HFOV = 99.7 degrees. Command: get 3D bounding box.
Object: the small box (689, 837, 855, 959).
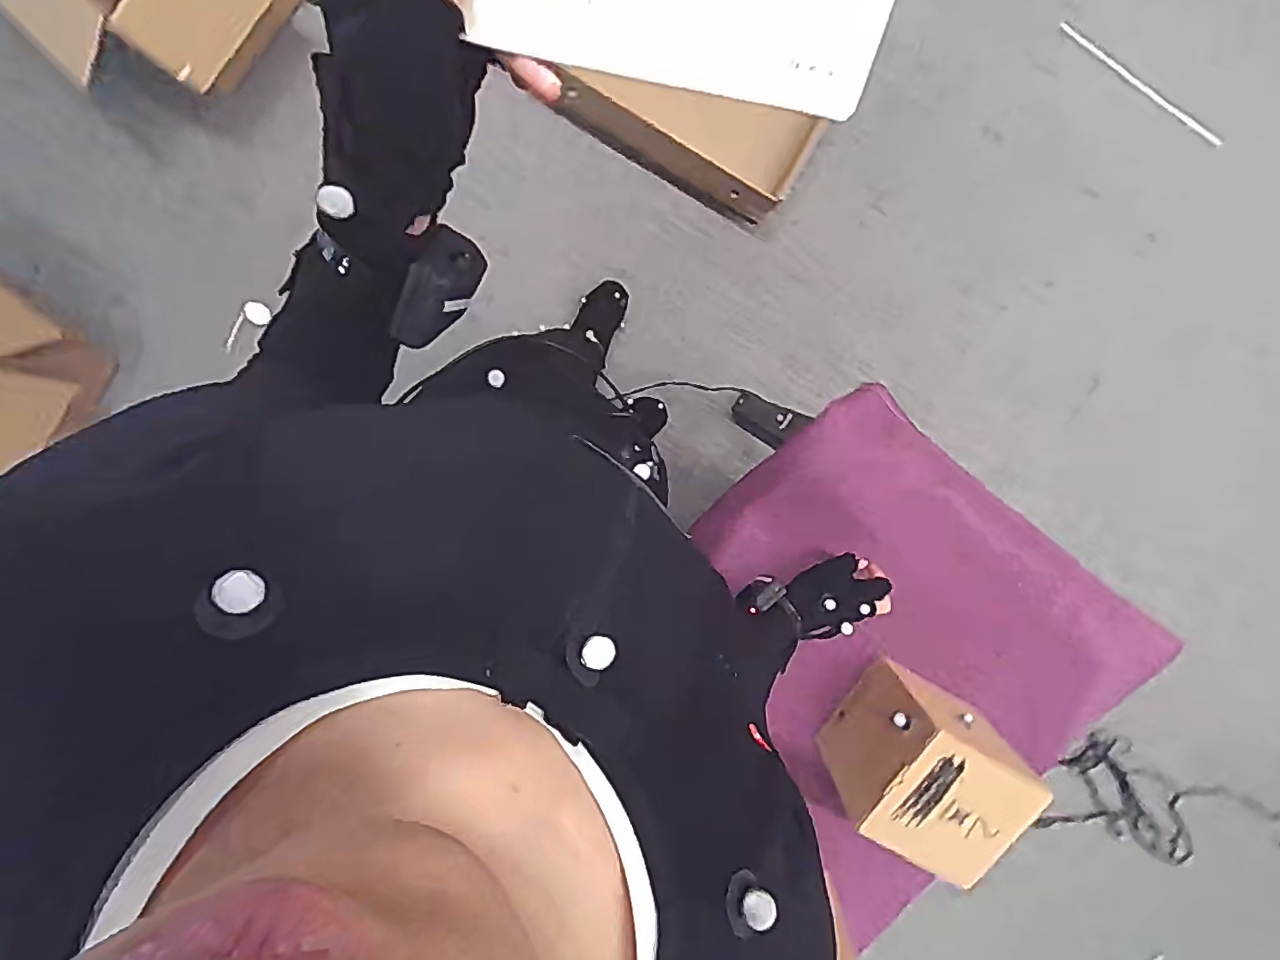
[{"bbox_3d":[0.180,0.671,0.789,0.179,0.176,0.168,32,100,-6],"label":"small box"}]
